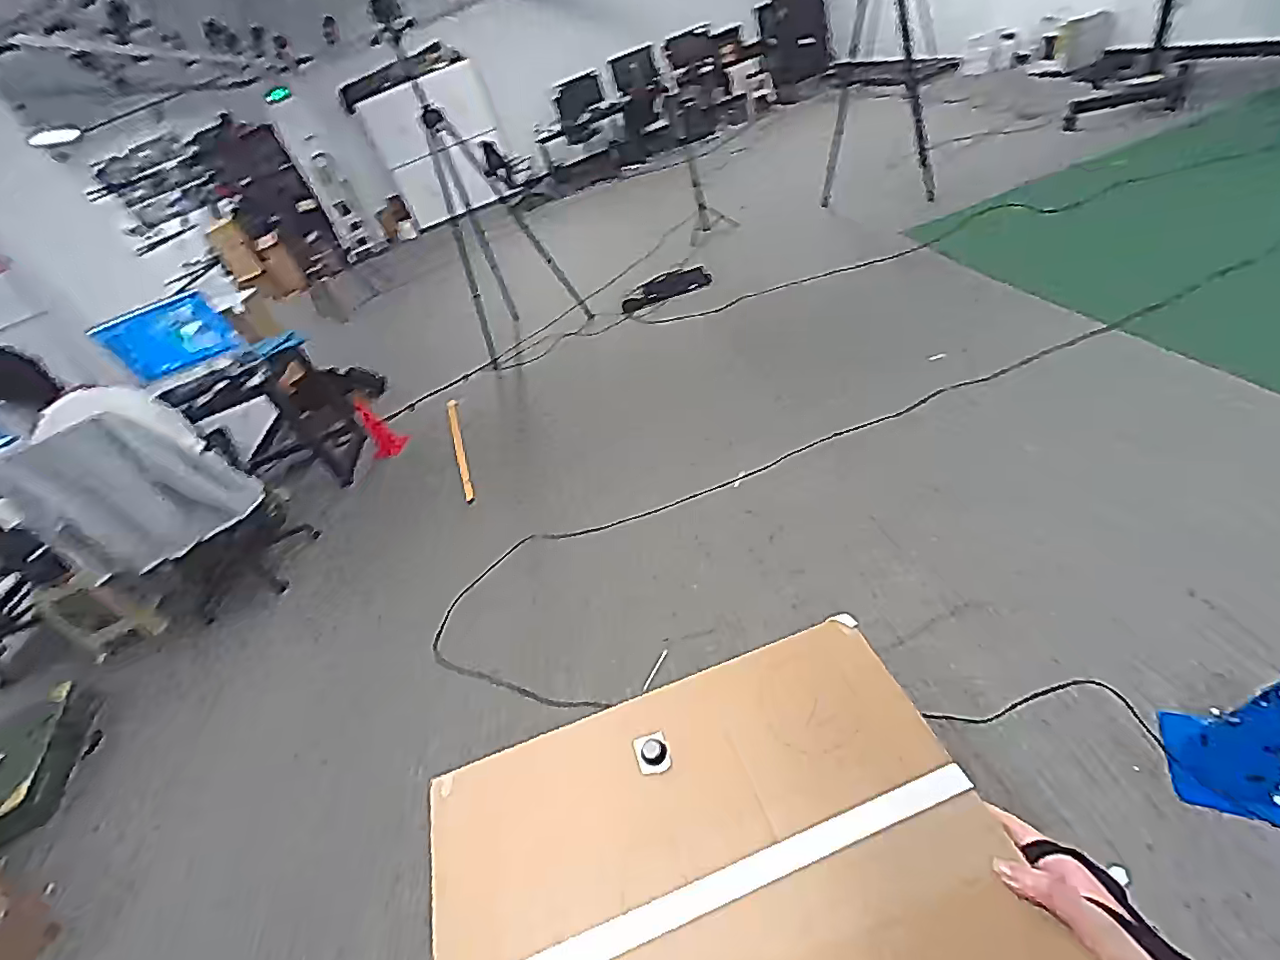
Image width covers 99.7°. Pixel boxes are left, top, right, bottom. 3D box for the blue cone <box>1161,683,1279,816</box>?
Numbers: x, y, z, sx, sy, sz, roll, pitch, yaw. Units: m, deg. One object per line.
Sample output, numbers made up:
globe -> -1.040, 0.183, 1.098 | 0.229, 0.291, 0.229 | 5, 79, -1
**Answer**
blue cone -> 1.178, 0.466, 1.023 | 0.193, 0.380, 0.192 | 1, 45, 26
